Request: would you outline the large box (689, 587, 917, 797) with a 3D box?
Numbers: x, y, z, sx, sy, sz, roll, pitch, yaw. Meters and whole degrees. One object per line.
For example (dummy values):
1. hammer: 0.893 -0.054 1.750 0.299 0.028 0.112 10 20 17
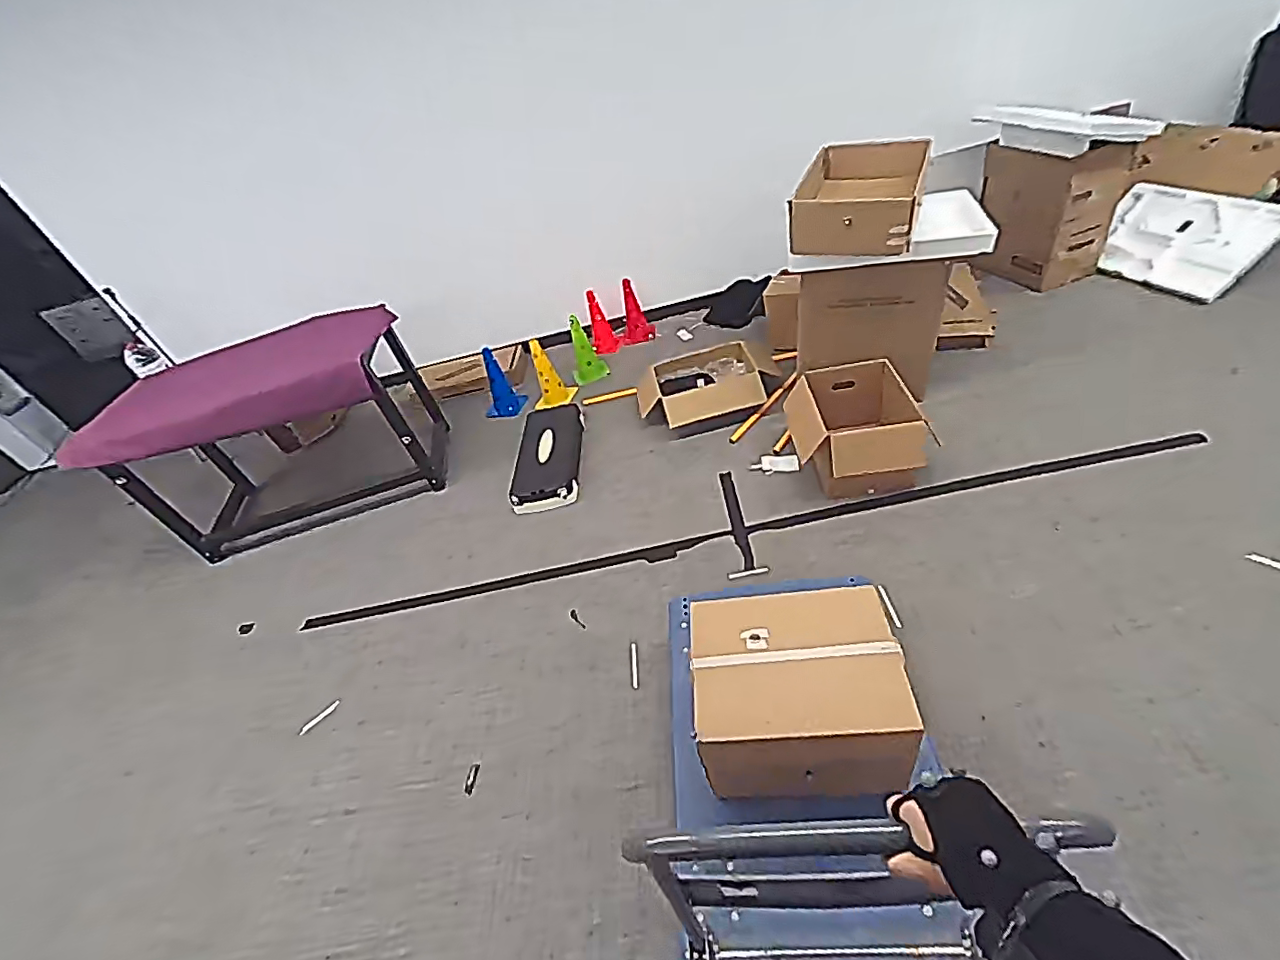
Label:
1. large box: 0.340 0.476 1.199 0.408 0.320 0.320 -9 40 10
